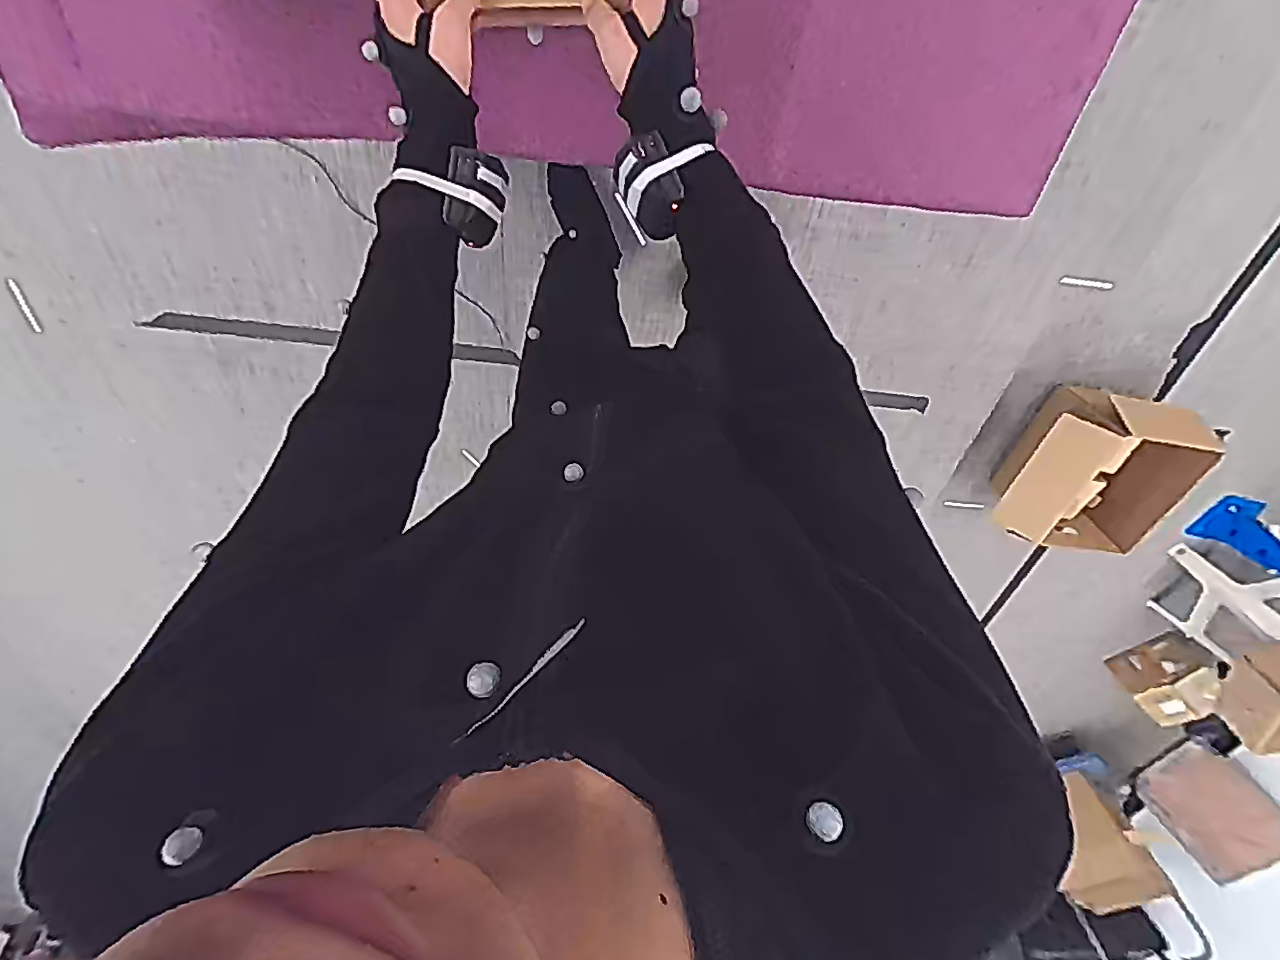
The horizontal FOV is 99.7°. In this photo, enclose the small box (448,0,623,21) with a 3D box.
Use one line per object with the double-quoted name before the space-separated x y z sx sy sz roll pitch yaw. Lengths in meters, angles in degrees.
"small box" -0.100 -0.506 0.451 0.168 0.176 0.179 -2 127 -2
